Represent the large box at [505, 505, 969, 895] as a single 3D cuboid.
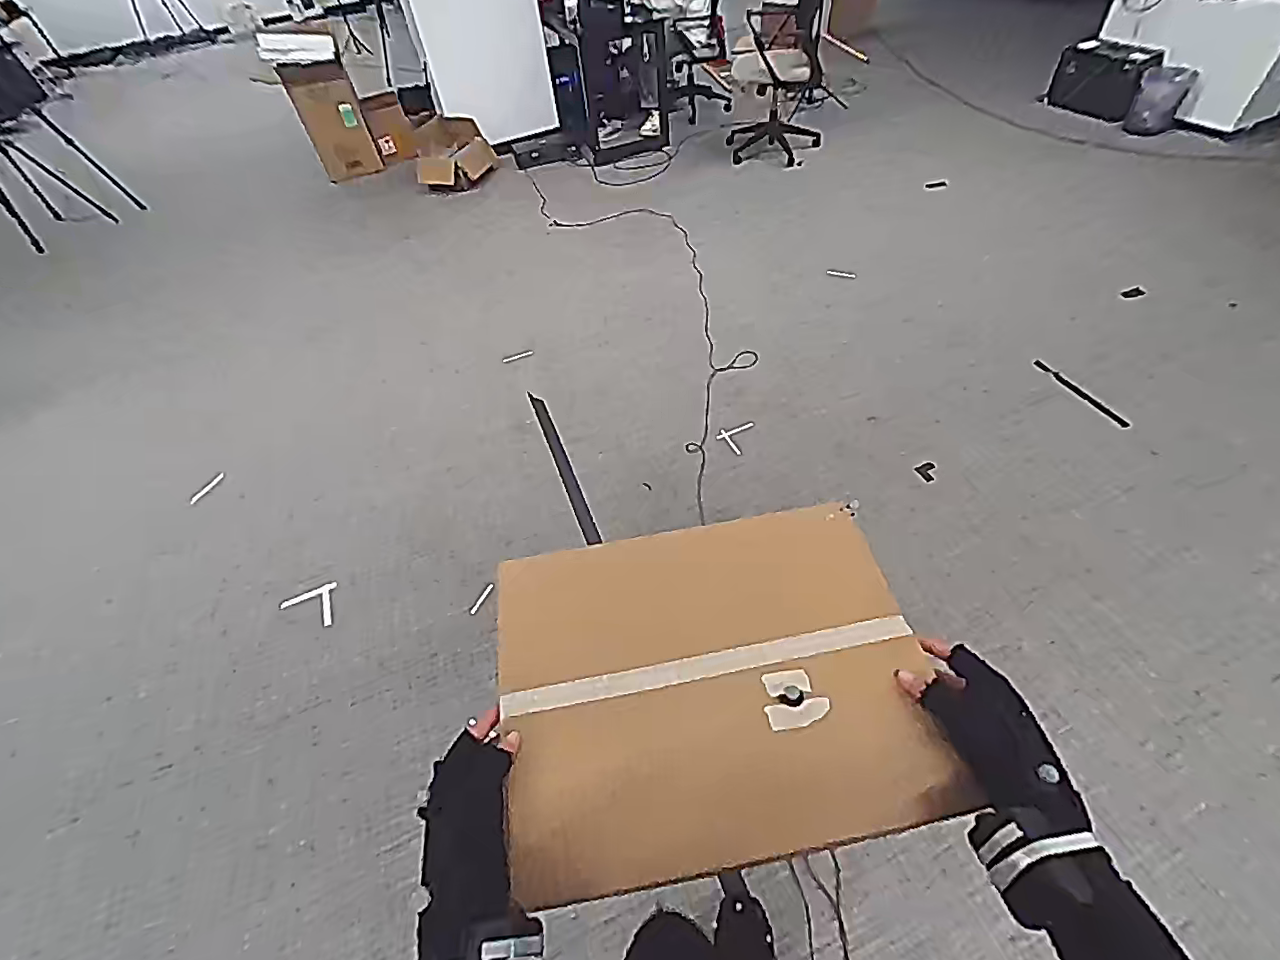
[{"bbox_3d":[0.074,0.273,0.659,0.408,0.320,0.320,-10,53,-4],"label":"large box"}]
